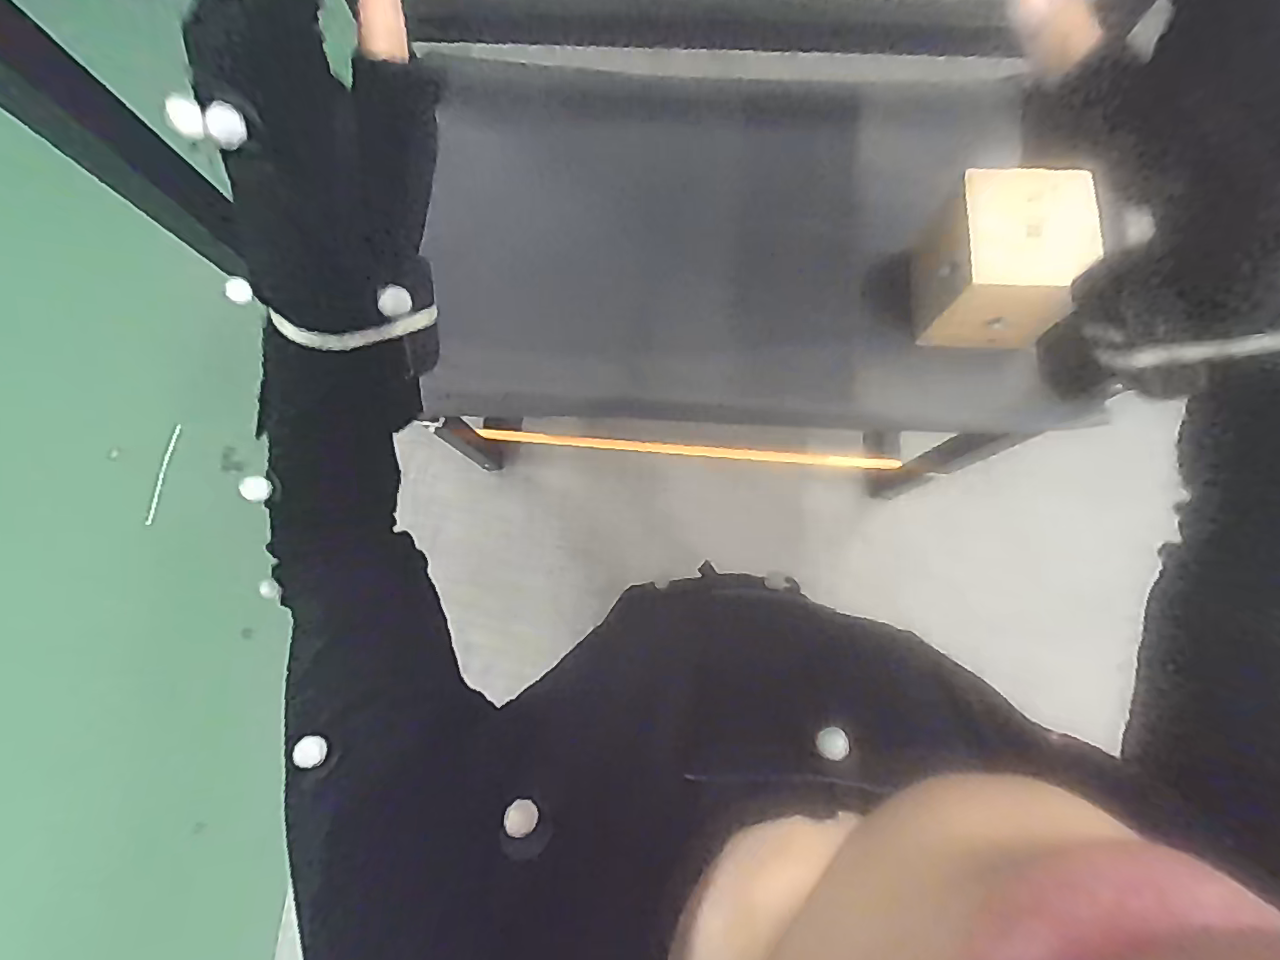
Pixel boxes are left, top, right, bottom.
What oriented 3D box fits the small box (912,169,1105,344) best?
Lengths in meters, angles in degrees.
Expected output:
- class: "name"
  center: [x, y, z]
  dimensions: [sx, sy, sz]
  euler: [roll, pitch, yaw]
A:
- class: "small box"
  center: [0.511, -0.310, 0.777]
  dimensions: [0.168, 0.176, 0.179]
  euler: [3, 77, 3]
